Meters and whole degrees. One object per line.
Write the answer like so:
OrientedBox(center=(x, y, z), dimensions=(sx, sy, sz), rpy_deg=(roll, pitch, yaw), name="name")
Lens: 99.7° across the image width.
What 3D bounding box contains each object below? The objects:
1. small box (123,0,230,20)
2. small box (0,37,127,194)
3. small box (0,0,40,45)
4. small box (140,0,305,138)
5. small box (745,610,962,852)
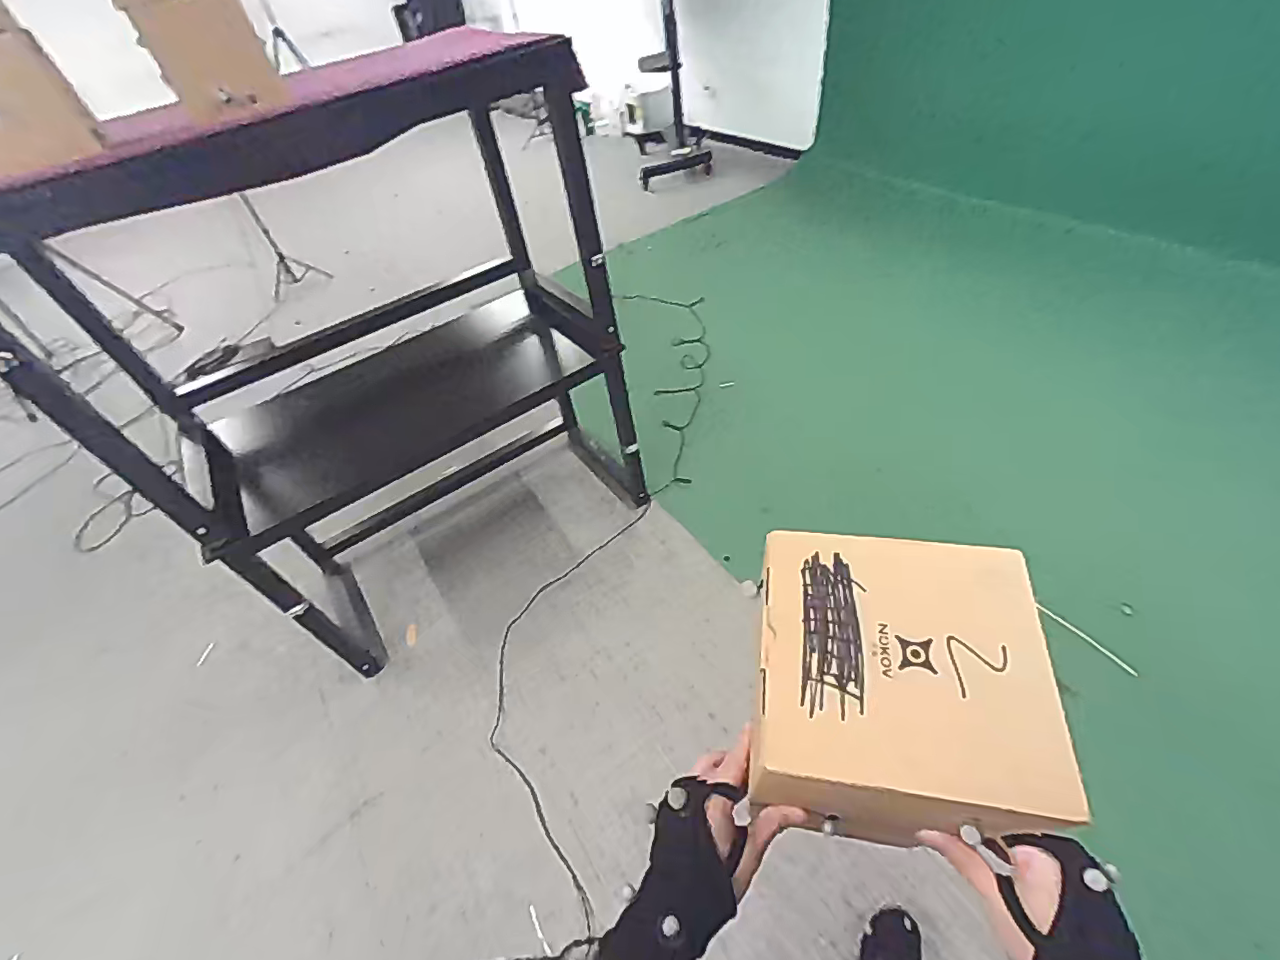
OrientedBox(center=(-0.760, -0.845, 0.849), dimensions=(0.179, 0.176, 0.168), rpy_deg=(-30, 48, -16), name="small box")
OrientedBox(center=(-0.990, -0.591, 0.875), dimensions=(0.179, 0.176, 0.168), rpy_deg=(-31, 48, -17), name="small box")
OrientedBox(center=(-1.022, -0.706, 0.765), dimensions=(0.168, 0.176, 0.179), rpy_deg=(-31, 48, -18), name="small box")
OrientedBox(center=(-0.735, -0.736, 0.969), dimensions=(0.168, 0.176, 0.179), rpy_deg=(-29, 48, -16), name="small box")
OrientedBox(center=(0.196, 0.254, 0.548), dimensions=(0.168, 0.176, 0.179), rpy_deg=(4, 54, 12), name="small box")
